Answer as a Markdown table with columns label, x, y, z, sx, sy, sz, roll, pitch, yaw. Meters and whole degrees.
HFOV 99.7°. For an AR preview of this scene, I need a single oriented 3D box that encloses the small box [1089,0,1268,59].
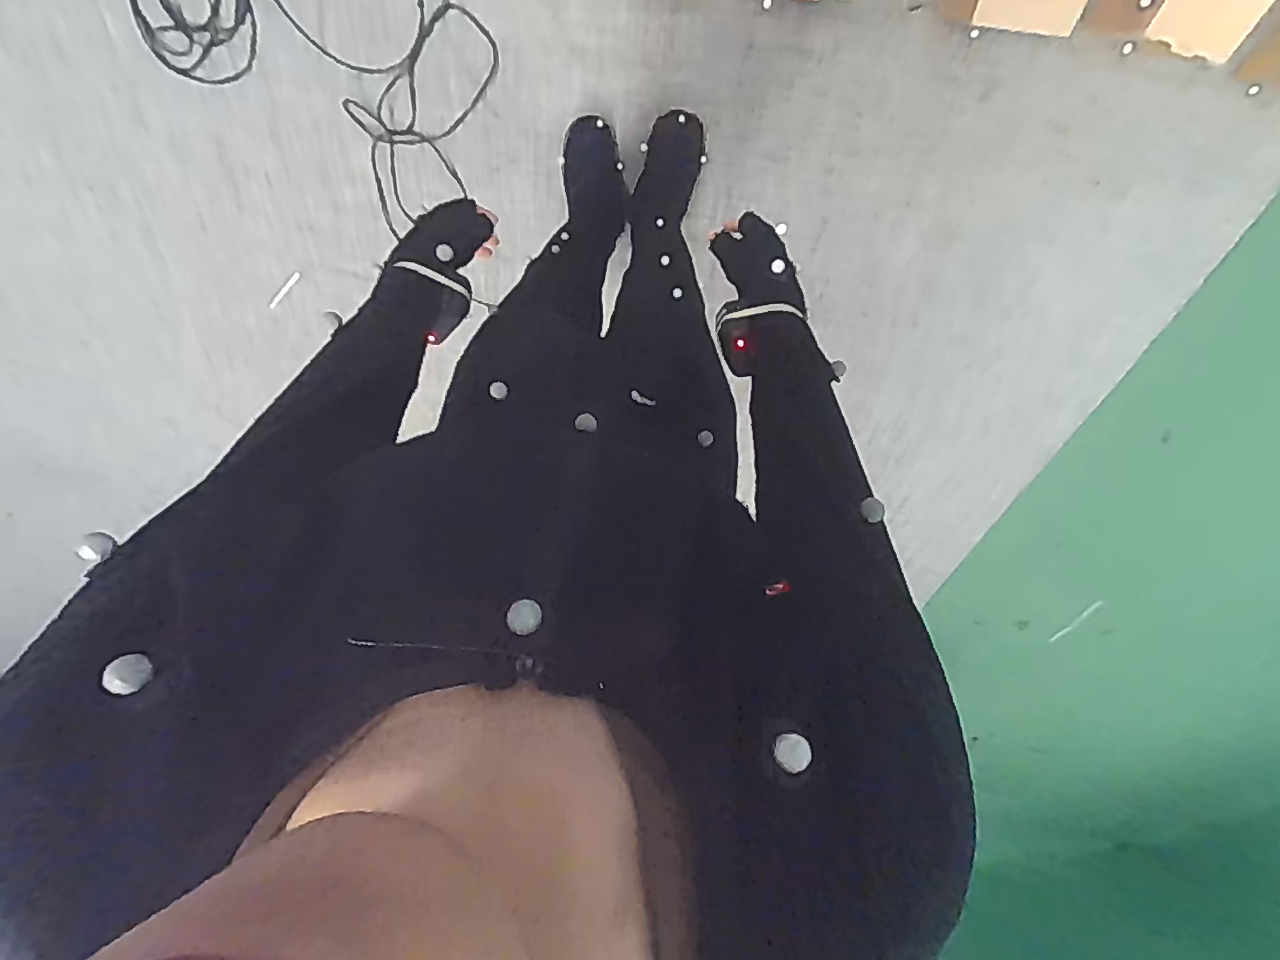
| label | x | y | z | sx | sy | sz | roll | pitch | yaw |
| --- | --- | --- | --- | --- | --- | --- | --- | --- | --- |
| small box | 0.898 | -0.823 | 0.877 | 0.168 | 0.176 | 0.179 | 11 | 133 | -9 |

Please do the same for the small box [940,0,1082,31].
| label | x | y | z | sx | sy | sz | roll | pitch | yaw |
| --- | --- | --- | --- | --- | --- | --- | --- | --- | --- |
| small box | 0.614 | -0.845 | 0.861 | 0.168 | 0.176 | 0.179 | 5 | 135 | -1 |

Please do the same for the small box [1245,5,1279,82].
| label | x | y | z | sx | sy | sz | roll | pitch | yaw |
| --- | --- | --- | --- | --- | --- | --- | --- | --- | --- |
| small box | 1.211 | -0.773 | 0.916 | 0.168 | 0.176 | 0.179 | 7 | 132 | -6 |
